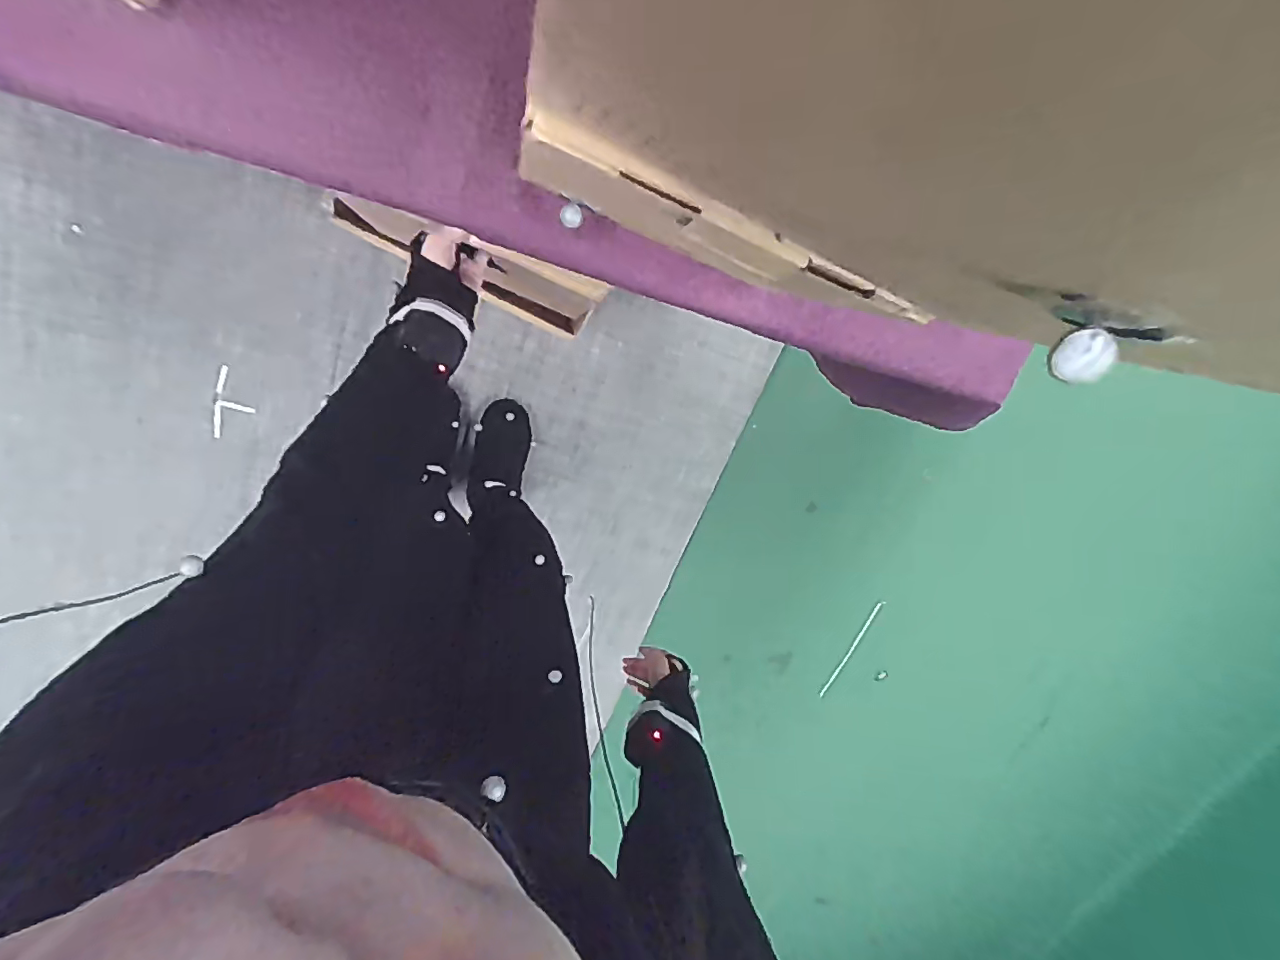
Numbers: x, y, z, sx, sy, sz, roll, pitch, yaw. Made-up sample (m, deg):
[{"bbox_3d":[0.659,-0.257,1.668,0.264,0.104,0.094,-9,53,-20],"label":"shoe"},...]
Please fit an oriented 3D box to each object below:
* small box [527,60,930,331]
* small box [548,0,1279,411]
[{"bbox_3d":[0.056,-0.188,0.235,0.168,0.176,0.179,16,109,-20],"label":"small box"},{"bbox_3d":[0.095,-0.120,0.091,0.179,0.176,0.168,17,109,-20],"label":"small box"}]
